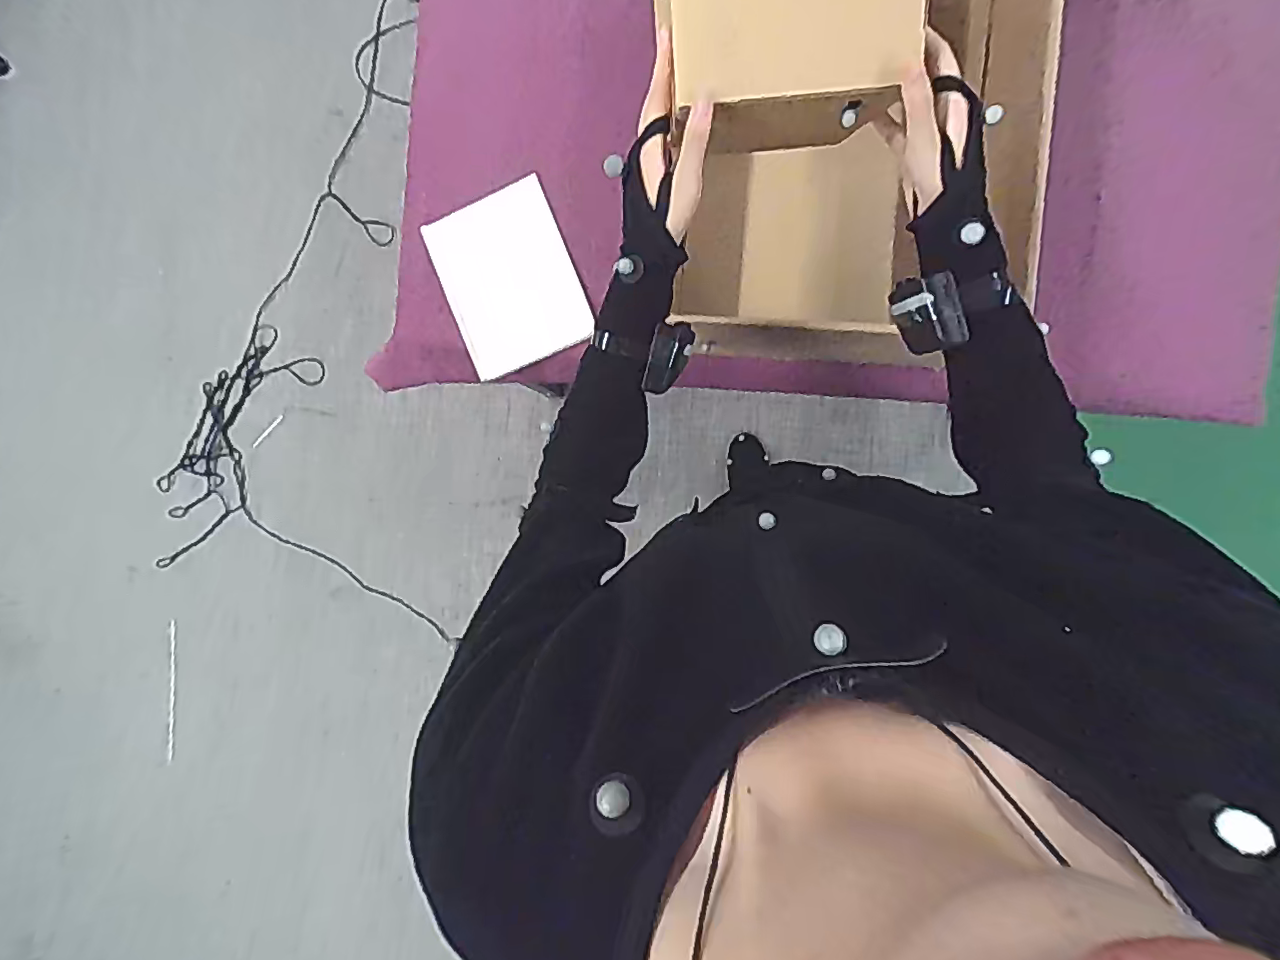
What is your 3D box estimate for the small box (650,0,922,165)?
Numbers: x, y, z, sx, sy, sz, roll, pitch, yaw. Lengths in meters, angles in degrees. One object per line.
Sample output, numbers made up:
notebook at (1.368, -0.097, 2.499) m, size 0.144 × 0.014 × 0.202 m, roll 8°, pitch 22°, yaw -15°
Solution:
small box at (0.098, -0.365, 0.427) m, size 0.179 × 0.176 × 0.168 m, roll -5°, pitch 109°, yaw 2°
